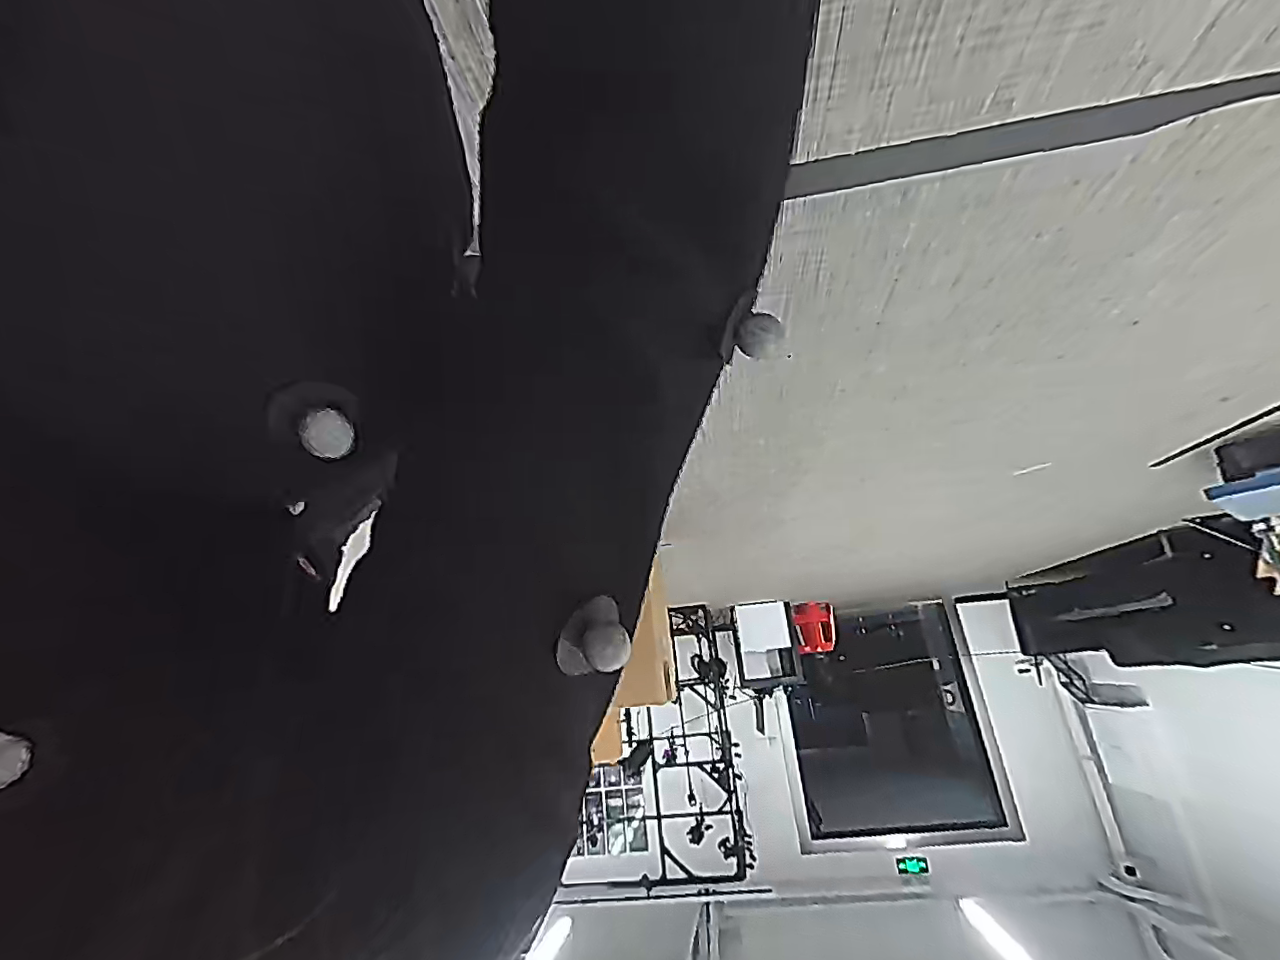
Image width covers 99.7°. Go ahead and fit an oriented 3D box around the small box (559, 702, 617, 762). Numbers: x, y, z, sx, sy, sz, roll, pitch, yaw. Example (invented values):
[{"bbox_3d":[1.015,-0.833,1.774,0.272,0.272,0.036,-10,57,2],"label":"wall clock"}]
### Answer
[{"bbox_3d":[-0.181,0.876,1.891,0.179,0.176,0.168,-8,160,4],"label":"small box"}]
